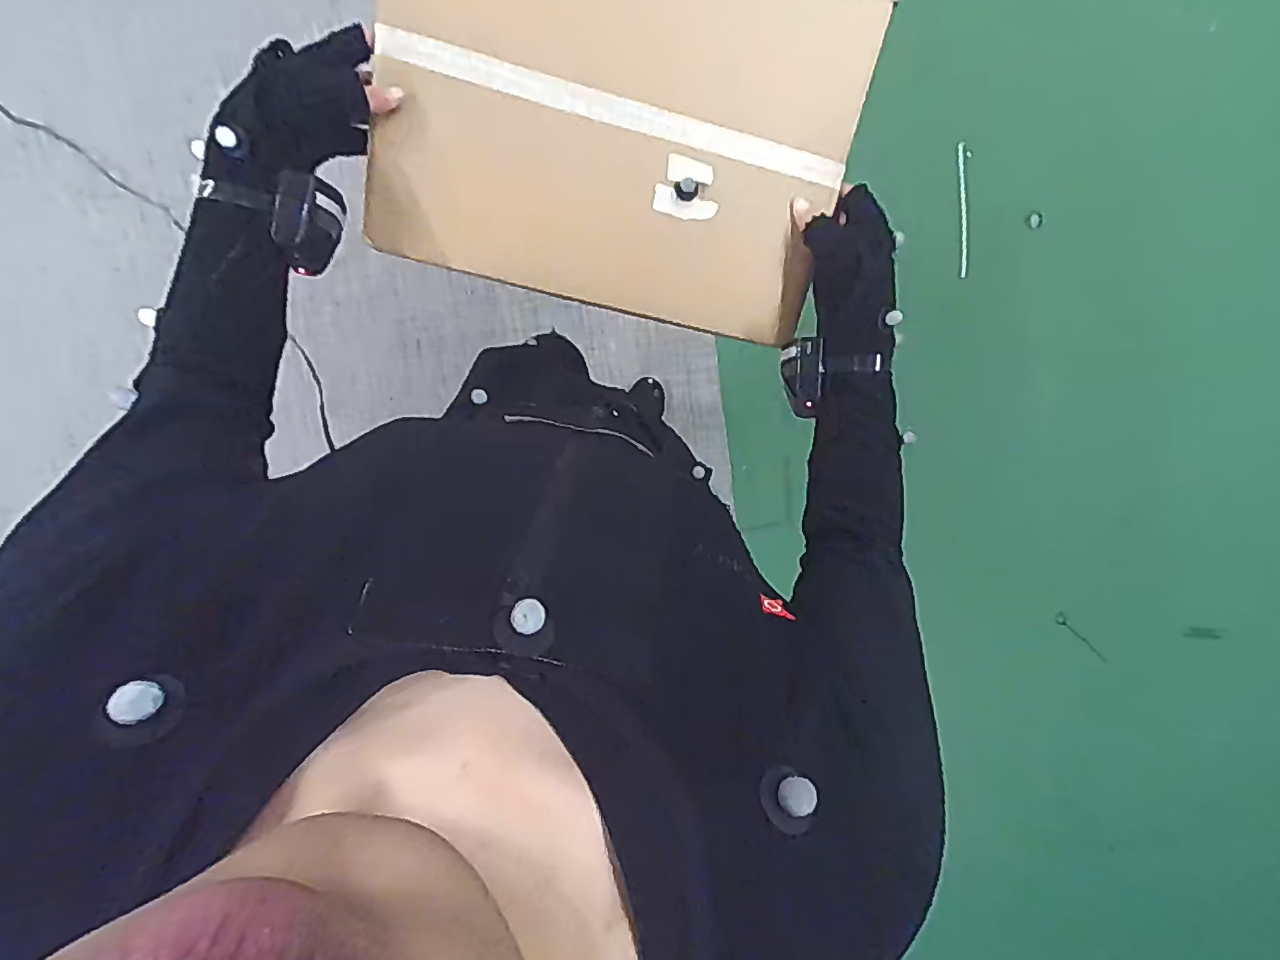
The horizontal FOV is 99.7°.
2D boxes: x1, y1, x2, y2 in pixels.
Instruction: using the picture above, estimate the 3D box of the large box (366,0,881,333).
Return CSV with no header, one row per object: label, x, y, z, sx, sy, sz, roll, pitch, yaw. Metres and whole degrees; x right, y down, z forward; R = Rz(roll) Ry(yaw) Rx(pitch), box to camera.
large box,-0.033,-0.362,0.601,0.408,0.320,0.320,11,106,-10
